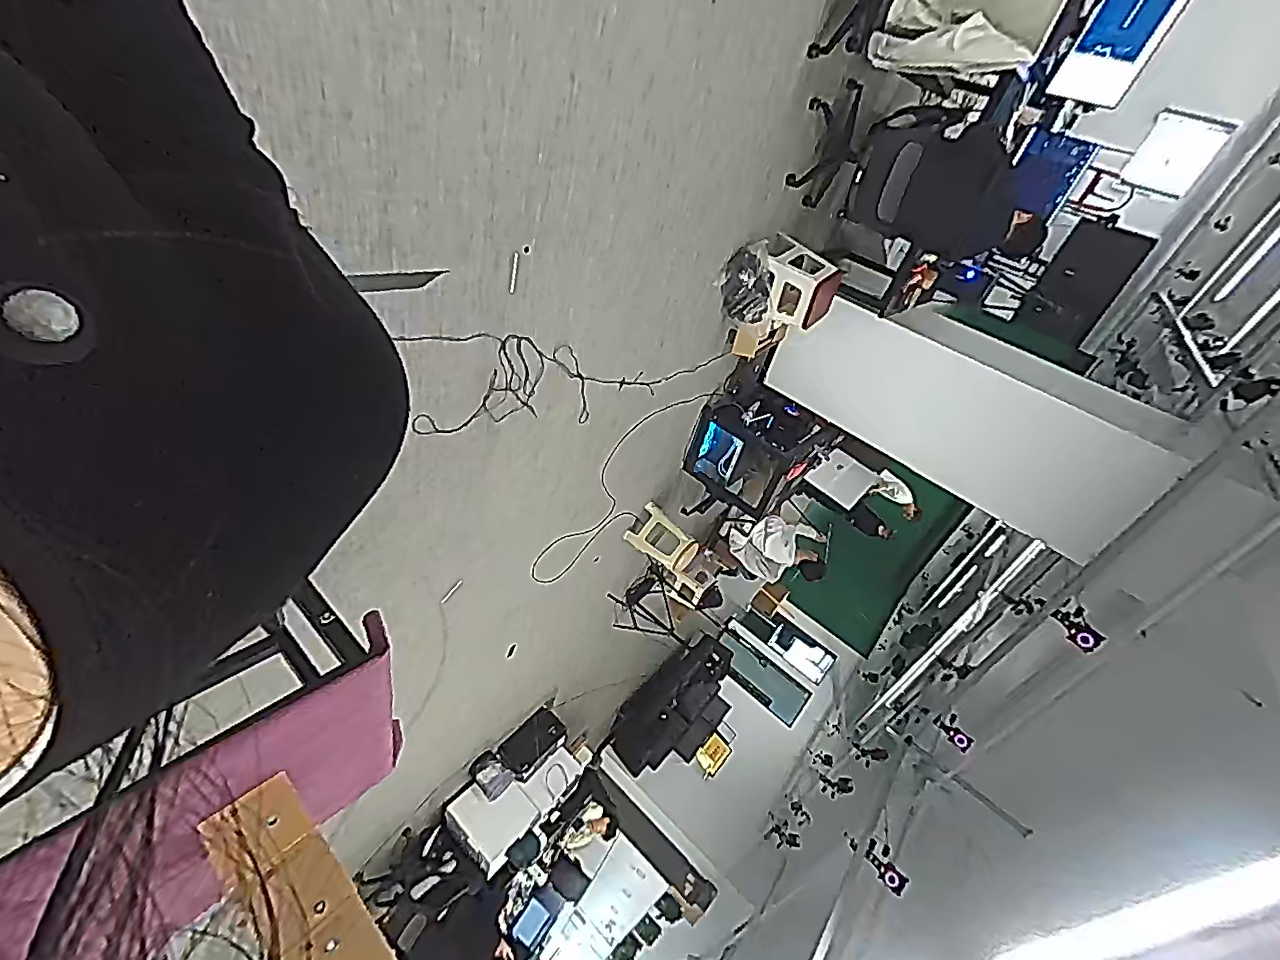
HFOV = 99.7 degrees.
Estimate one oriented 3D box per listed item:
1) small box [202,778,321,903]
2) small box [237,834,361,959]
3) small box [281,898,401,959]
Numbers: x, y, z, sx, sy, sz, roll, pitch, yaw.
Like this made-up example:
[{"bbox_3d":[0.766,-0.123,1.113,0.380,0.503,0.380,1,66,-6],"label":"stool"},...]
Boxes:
[{"bbox_3d":[-0.839,0.810,1.210,0.168,0.176,0.179,-28,146,-46],"label":"small box"},{"bbox_3d":[-0.718,0.903,1.149,0.168,0.176,0.179,-29,147,-46],"label":"small box"},{"bbox_3d":[-0.597,0.992,1.081,0.168,0.176,0.179,-28,145,-46],"label":"small box"}]
